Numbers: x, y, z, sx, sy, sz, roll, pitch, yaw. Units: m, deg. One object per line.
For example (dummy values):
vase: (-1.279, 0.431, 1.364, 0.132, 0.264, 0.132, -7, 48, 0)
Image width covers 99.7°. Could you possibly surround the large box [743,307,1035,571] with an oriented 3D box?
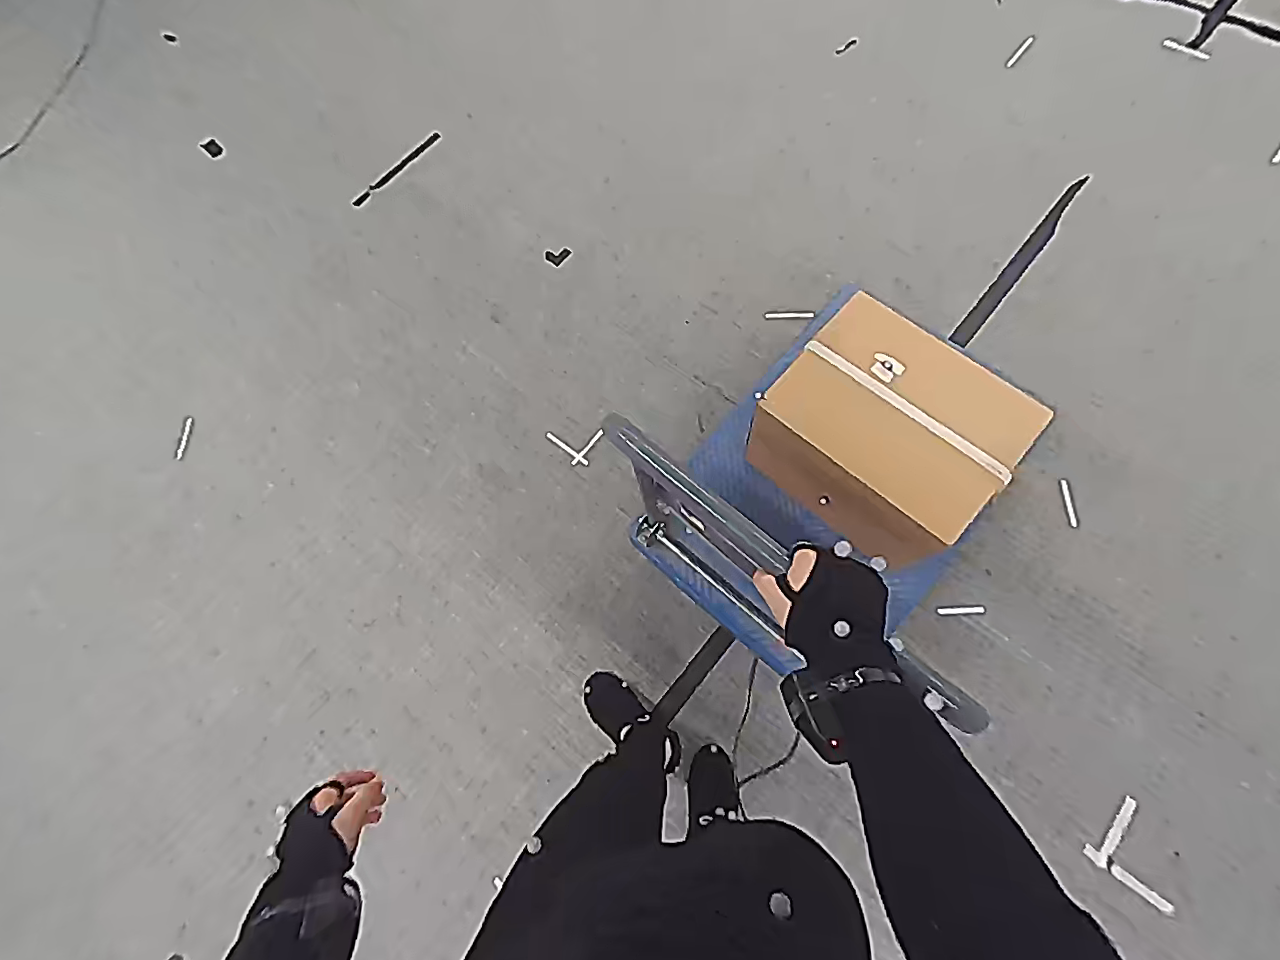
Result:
large box: (0.473, -0.068, 1.127, 0.408, 0.320, 0.320, 40, 80, 17)
